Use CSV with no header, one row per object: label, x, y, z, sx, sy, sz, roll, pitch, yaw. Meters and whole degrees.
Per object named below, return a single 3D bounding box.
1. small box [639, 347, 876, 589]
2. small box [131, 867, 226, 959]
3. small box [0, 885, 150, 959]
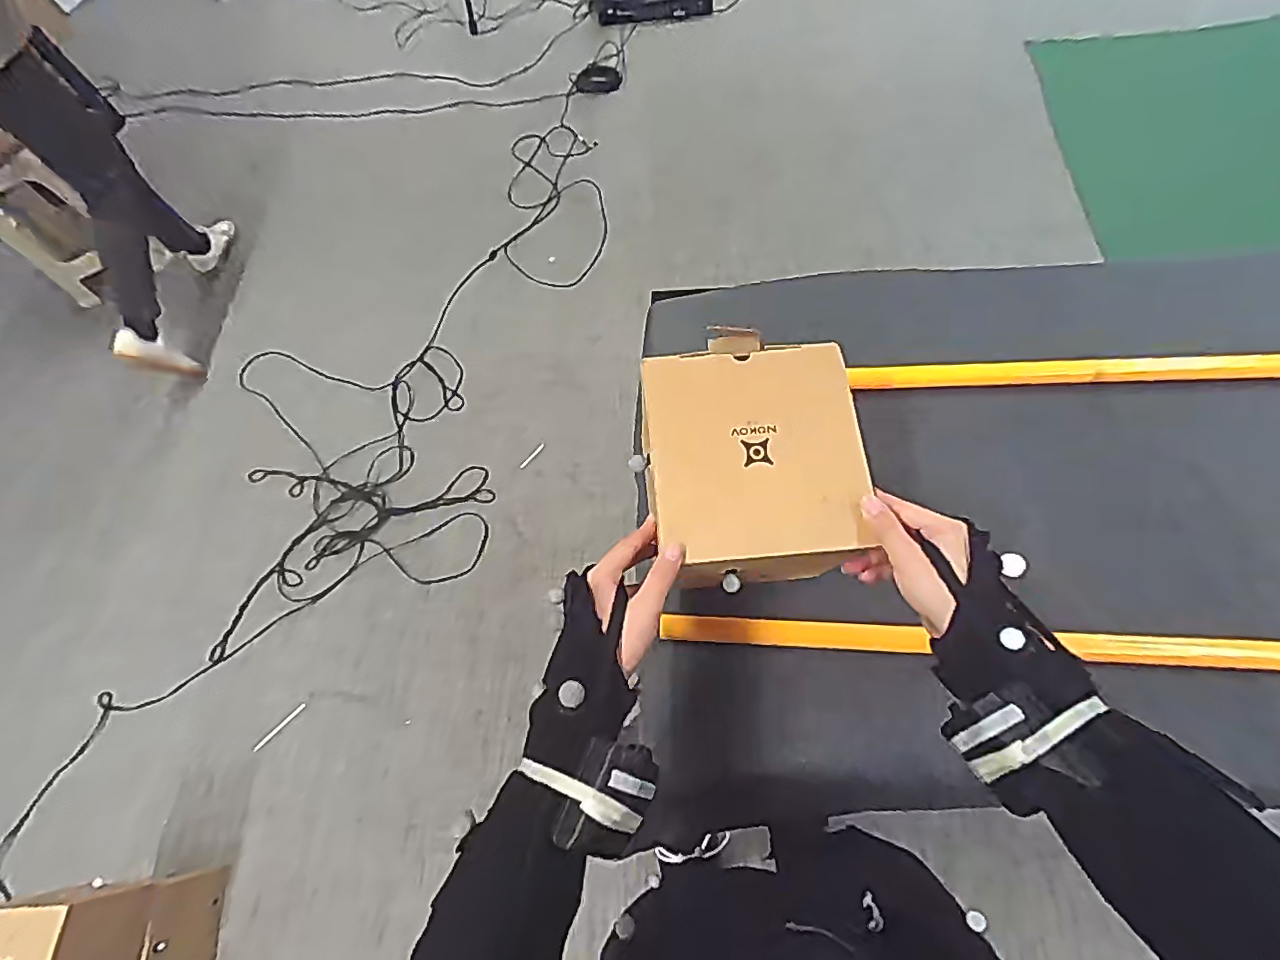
small box,0.090,0.003,0.500,0.168,0.176,0.179,-5,70,0
small box,-0.968,0.889,1.058,0.179,0.176,0.168,-12,67,2
small box,-0.993,0.811,0.911,0.168,0.176,0.179,-5,64,4
